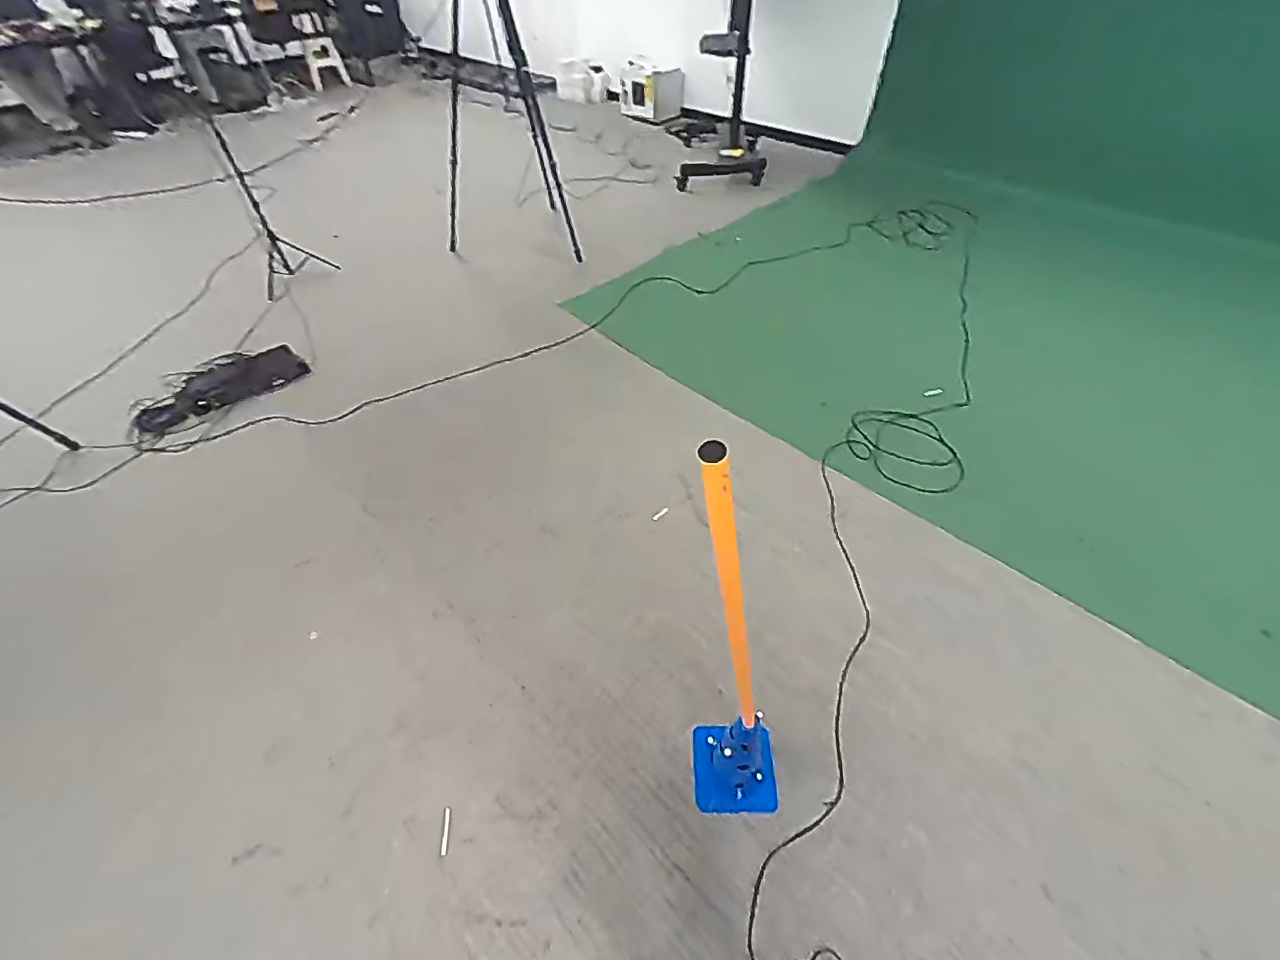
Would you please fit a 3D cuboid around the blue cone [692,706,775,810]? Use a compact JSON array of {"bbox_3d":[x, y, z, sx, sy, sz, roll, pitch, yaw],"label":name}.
[{"bbox_3d":[0.222,0.601,1.219,0.193,0.380,0.192,-3,49,2],"label":"blue cone"}]
